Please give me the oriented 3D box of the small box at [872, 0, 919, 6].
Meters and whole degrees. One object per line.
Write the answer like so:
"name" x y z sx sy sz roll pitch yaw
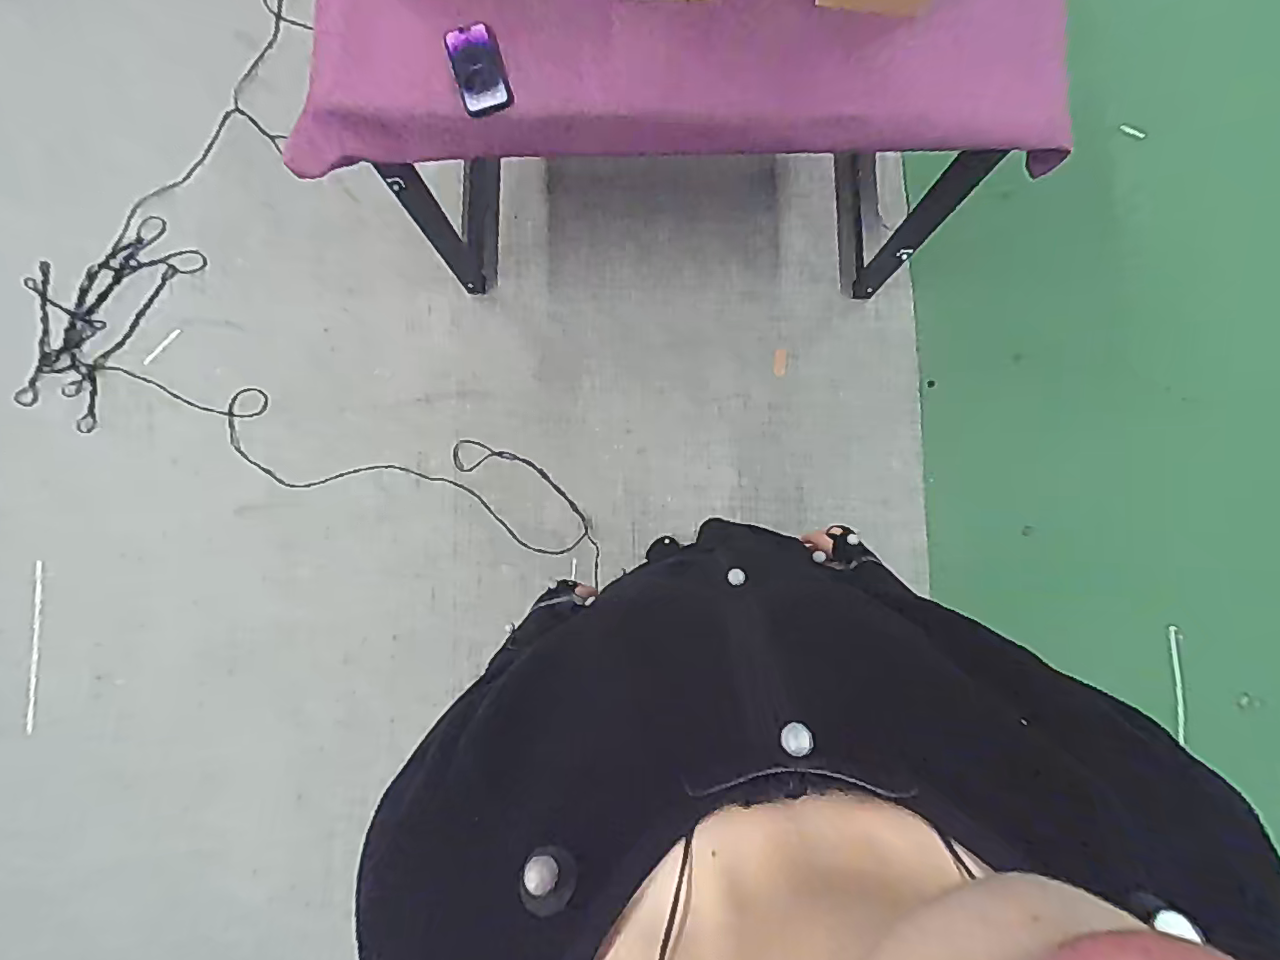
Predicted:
"small box" 0.385 -0.848 0.789 0.179 0.176 0.168 8 84 3
